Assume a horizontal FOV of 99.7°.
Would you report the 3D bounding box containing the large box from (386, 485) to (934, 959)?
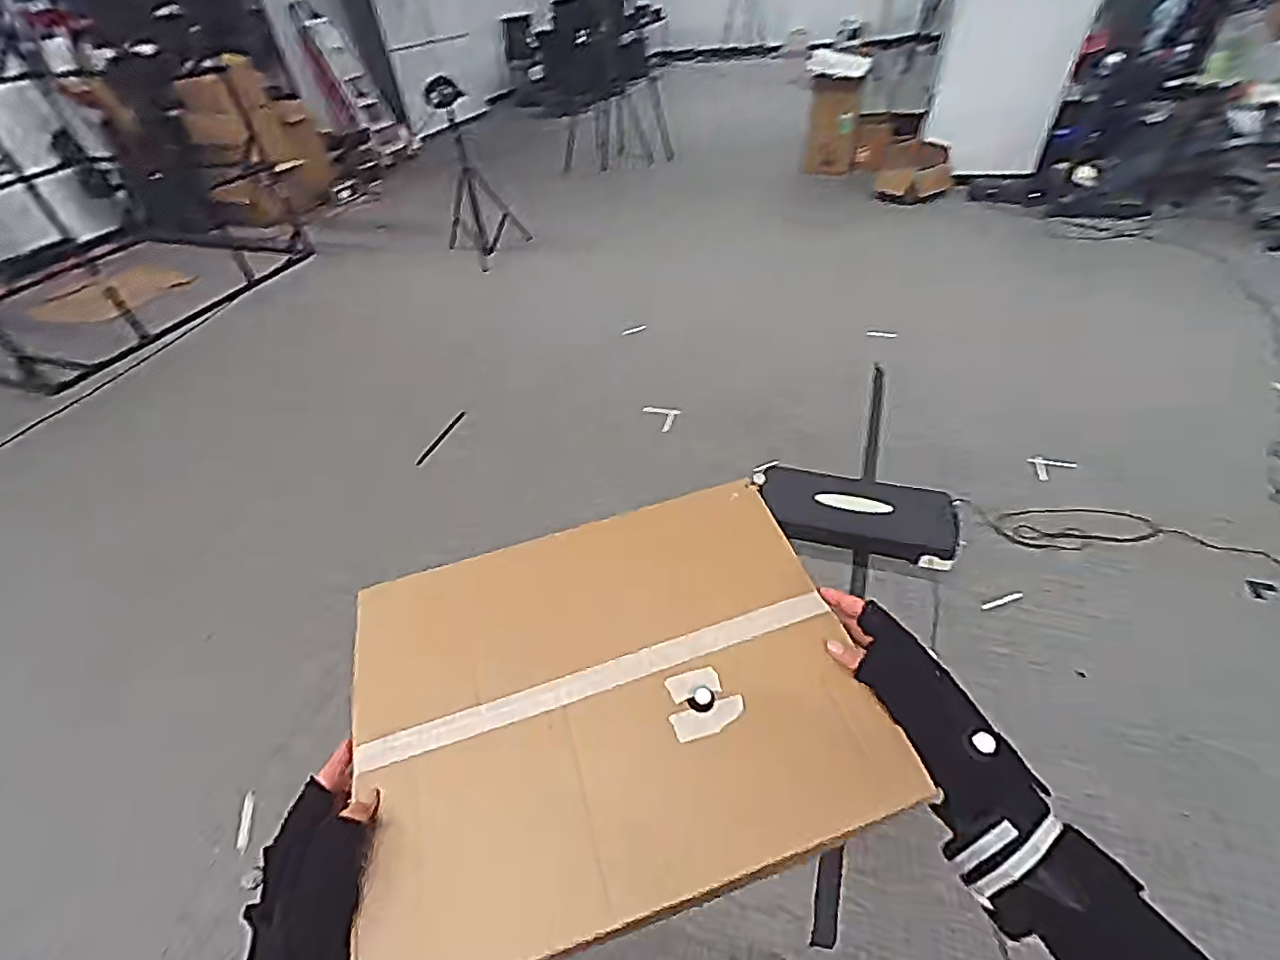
[{"bbox_3d":[-0.006,0.262,0.572,0.408,0.320,0.320,-15,51,-9],"label":"large box"}]
